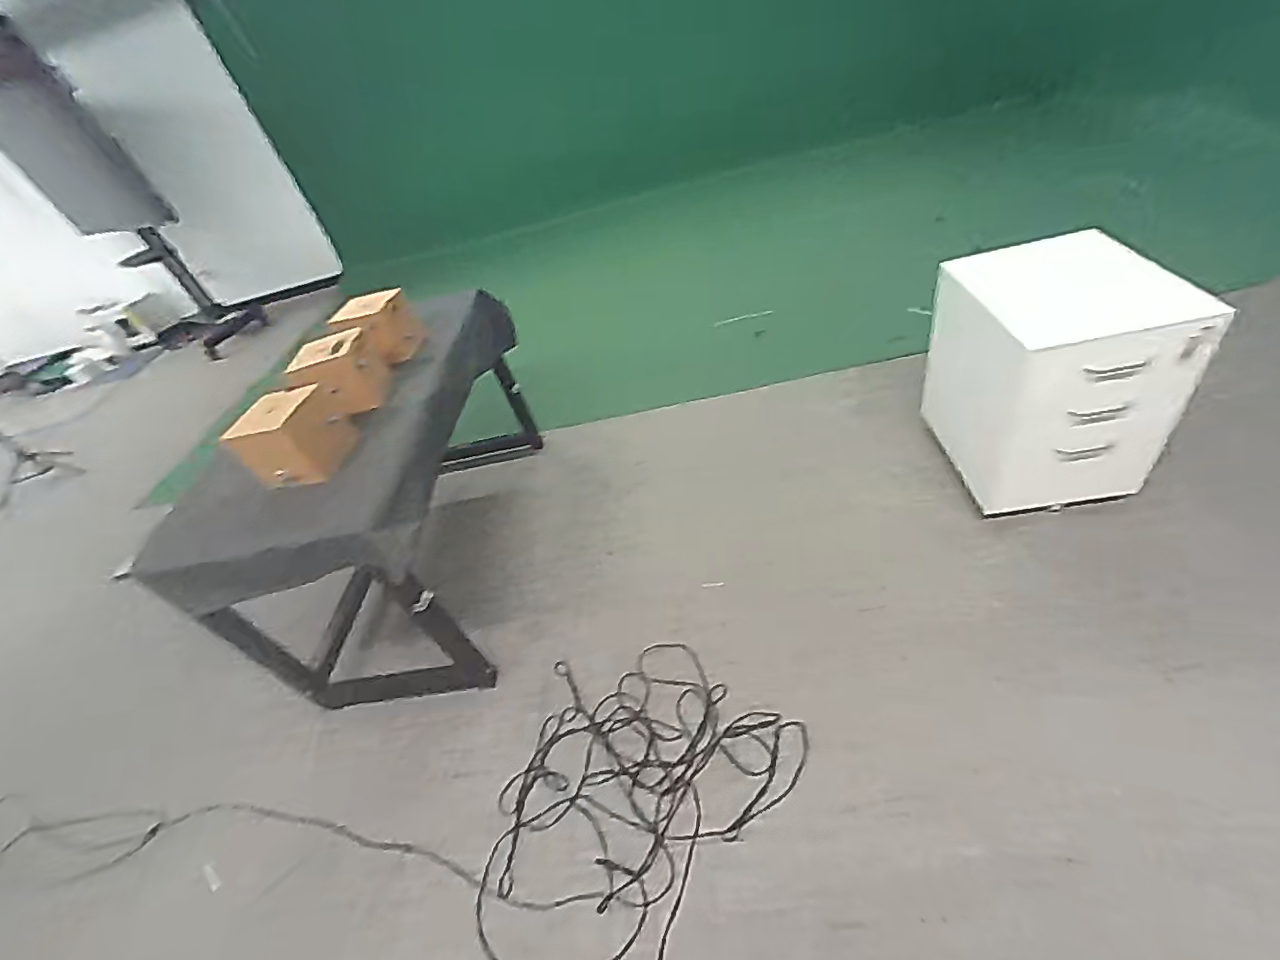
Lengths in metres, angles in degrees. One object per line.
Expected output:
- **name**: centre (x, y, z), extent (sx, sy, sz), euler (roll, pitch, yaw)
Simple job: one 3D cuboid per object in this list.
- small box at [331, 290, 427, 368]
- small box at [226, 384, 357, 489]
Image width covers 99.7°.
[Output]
- **small box**: centre (-0.806, -0.466, 1.689), extent (0.179, 0.176, 0.168), euler (-6, 42, 13)
- **small box**: centre (-0.816, -0.102, 1.293), extent (0.168, 0.176, 0.179), euler (-8, 43, 13)
